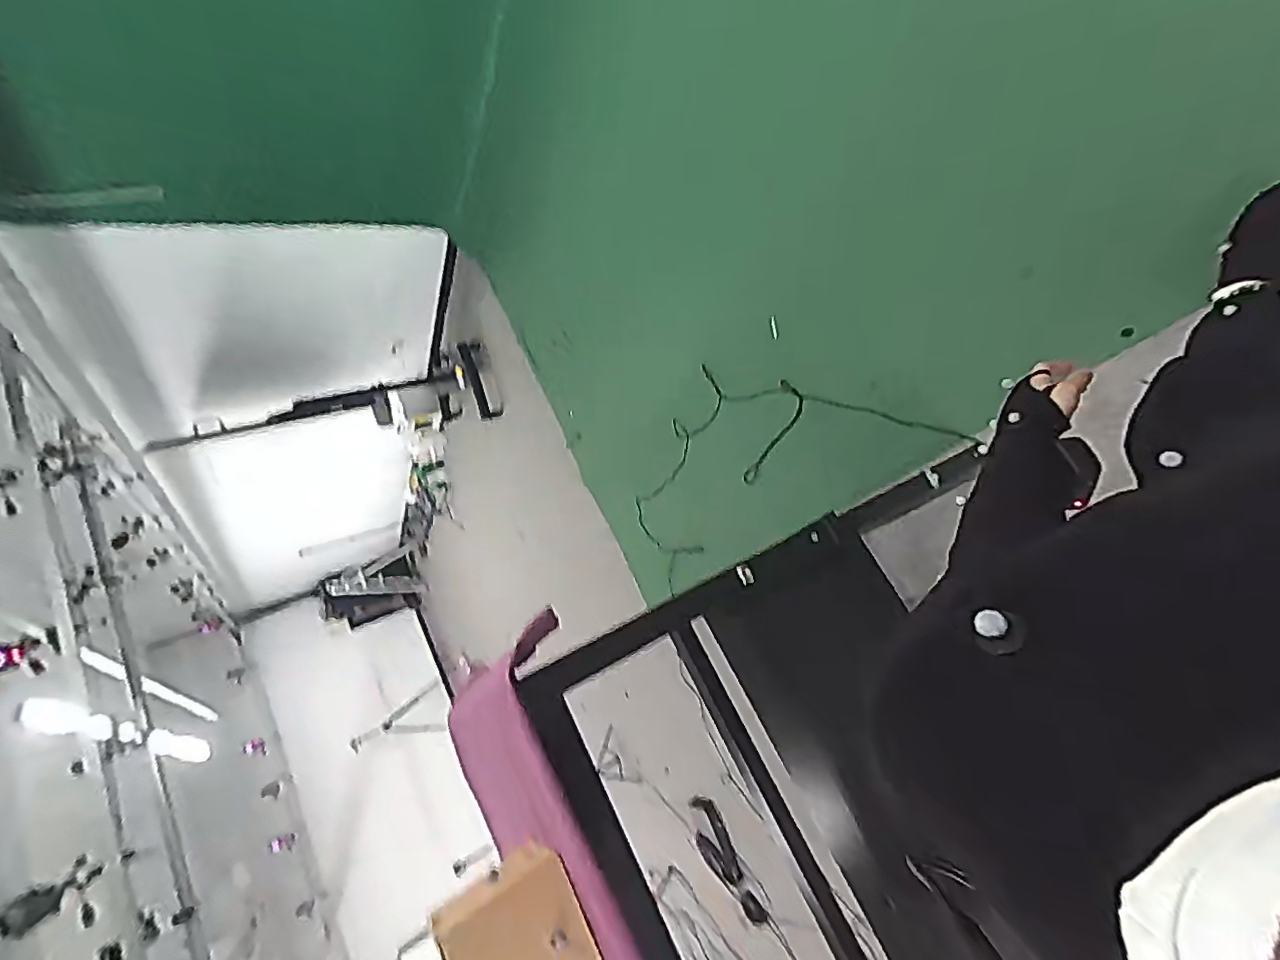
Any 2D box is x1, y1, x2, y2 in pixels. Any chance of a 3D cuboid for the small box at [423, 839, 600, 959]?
[{"bbox_3d":[-0.173,0.623,0.729,0.179,0.176,0.168,62,147,15],"label":"small box"}]
